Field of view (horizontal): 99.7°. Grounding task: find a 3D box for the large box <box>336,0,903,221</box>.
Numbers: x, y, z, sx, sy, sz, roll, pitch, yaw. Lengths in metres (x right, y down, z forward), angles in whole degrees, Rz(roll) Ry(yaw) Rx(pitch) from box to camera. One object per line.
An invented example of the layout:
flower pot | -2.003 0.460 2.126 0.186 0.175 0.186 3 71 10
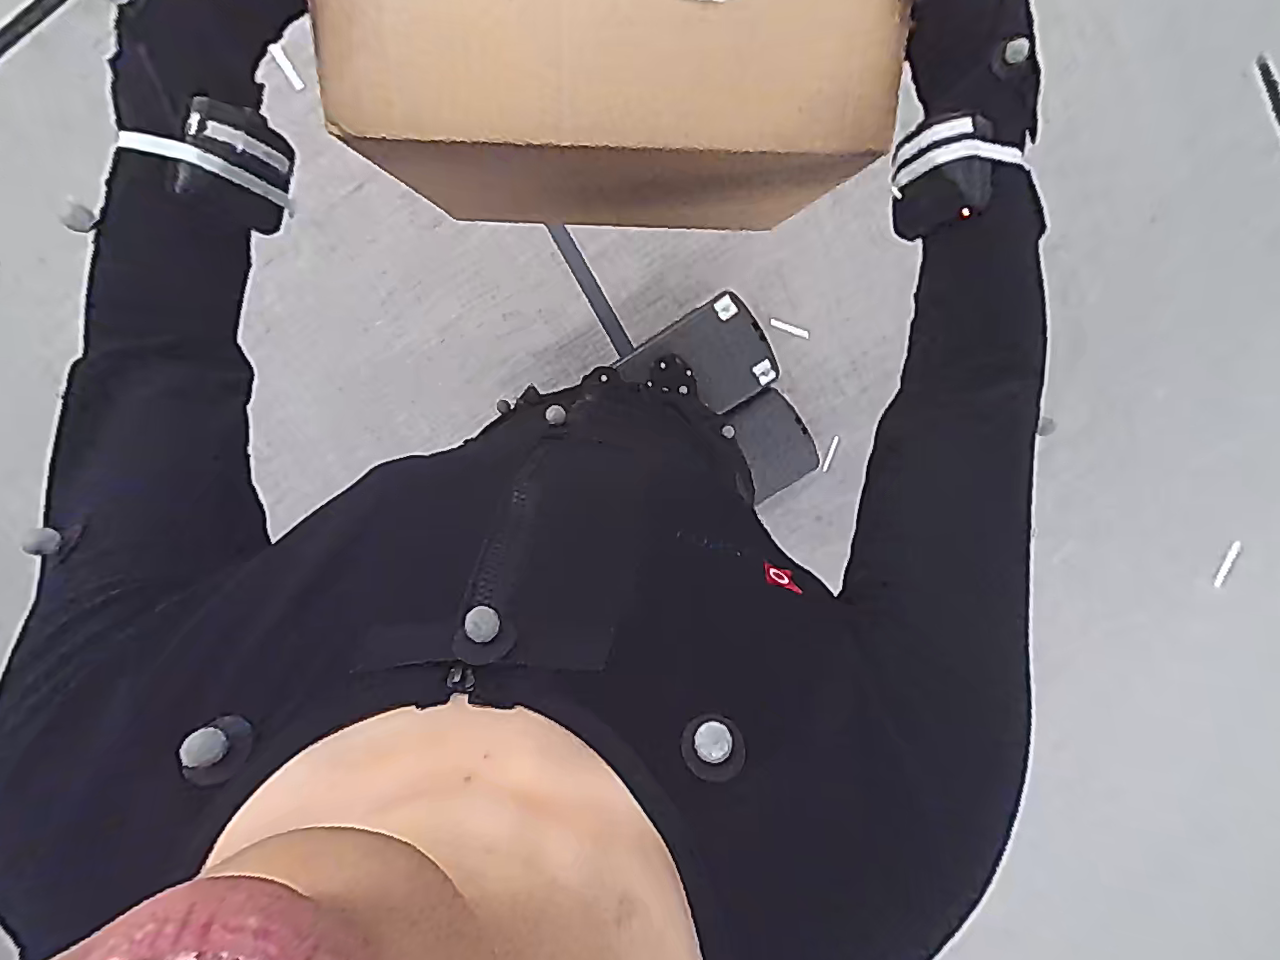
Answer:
large box | -0.018 -0.437 0.502 0.408 0.320 0.320 0 106 -3

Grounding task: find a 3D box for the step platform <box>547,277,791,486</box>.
step platform | 0.074 -0.269 1.528 0.684 0.204 0.286 -33 99 6
